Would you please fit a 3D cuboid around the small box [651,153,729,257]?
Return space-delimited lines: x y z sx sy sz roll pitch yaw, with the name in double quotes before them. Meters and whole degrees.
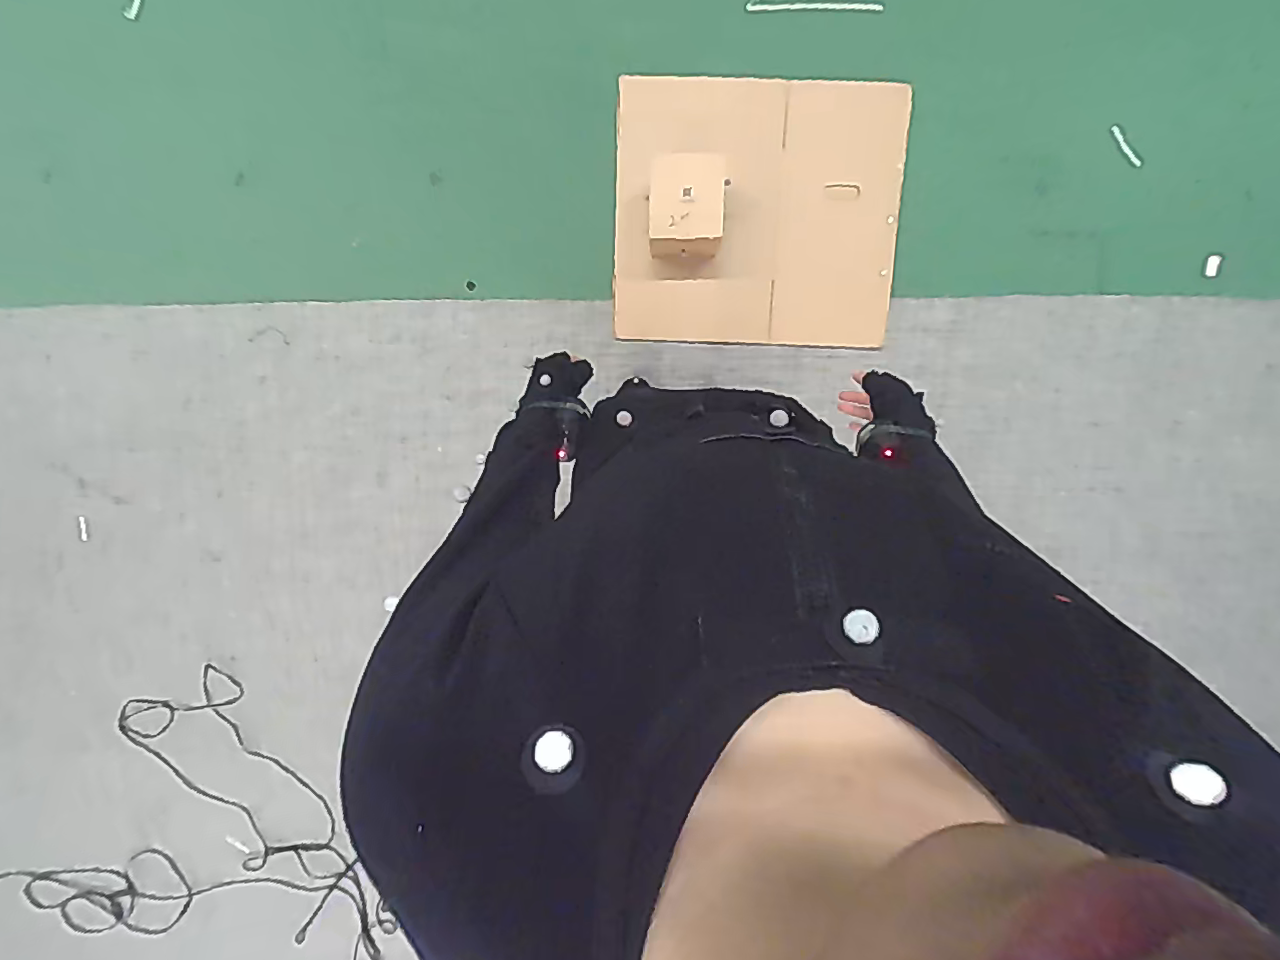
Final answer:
"small box" 0.111 -0.629 1.253 0.168 0.176 0.179 1 101 3
